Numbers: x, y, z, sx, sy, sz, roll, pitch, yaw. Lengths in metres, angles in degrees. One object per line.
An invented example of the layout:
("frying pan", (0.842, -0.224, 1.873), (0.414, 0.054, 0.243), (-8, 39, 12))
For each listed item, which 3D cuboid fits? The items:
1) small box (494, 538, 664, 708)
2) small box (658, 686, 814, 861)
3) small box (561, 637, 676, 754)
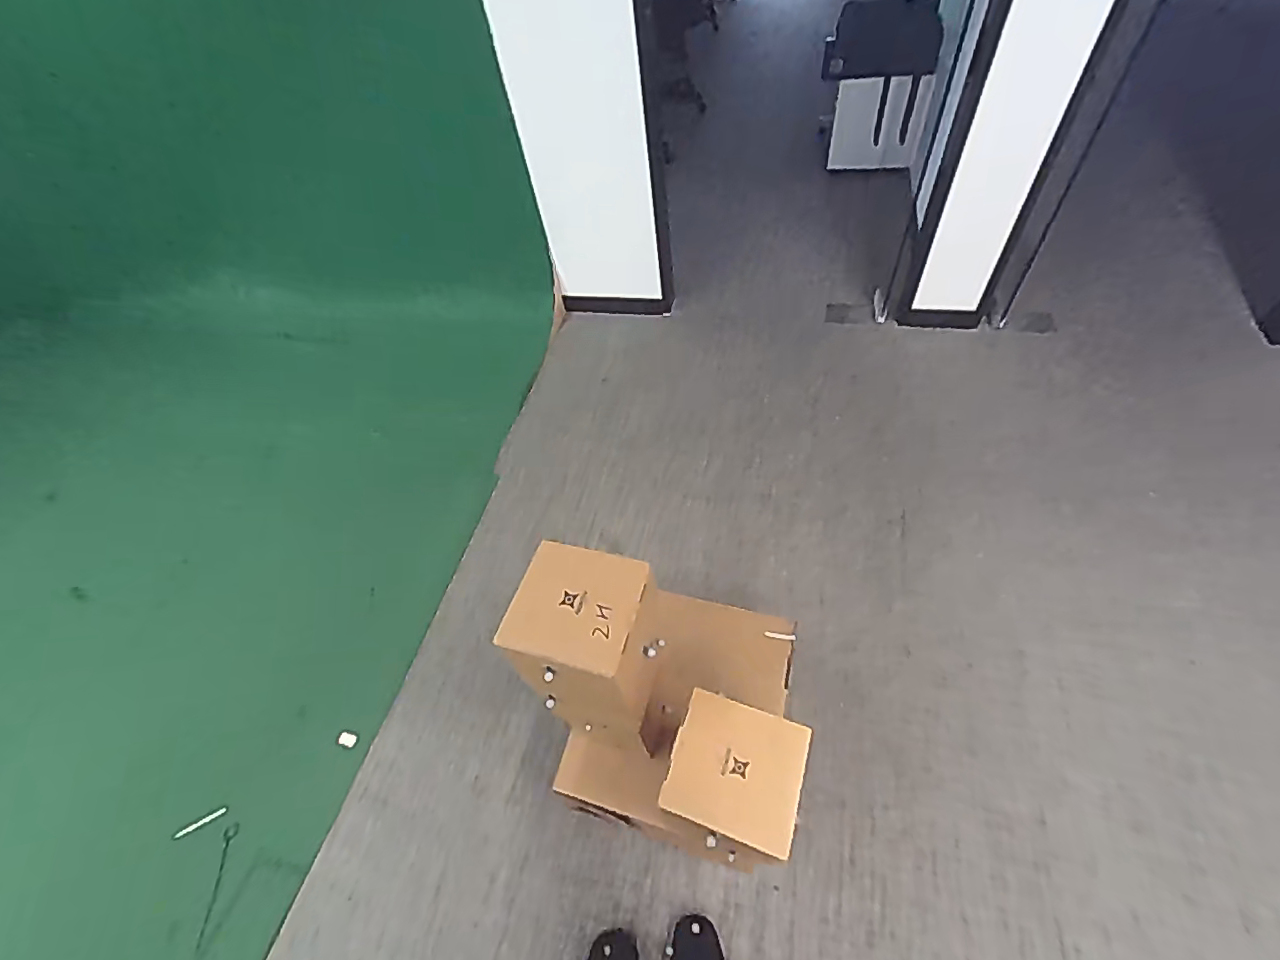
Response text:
("small box", (-0.075, 0.210, 0.786), (0.179, 0.176, 0.168), (10, 55, 17))
("small box", (0.140, 0.432, 0.796), (0.179, 0.176, 0.168), (14, 56, 17))
("small box", (-0.031, 0.401, 1.052), (0.168, 0.176, 0.179), (12, 54, 18))
